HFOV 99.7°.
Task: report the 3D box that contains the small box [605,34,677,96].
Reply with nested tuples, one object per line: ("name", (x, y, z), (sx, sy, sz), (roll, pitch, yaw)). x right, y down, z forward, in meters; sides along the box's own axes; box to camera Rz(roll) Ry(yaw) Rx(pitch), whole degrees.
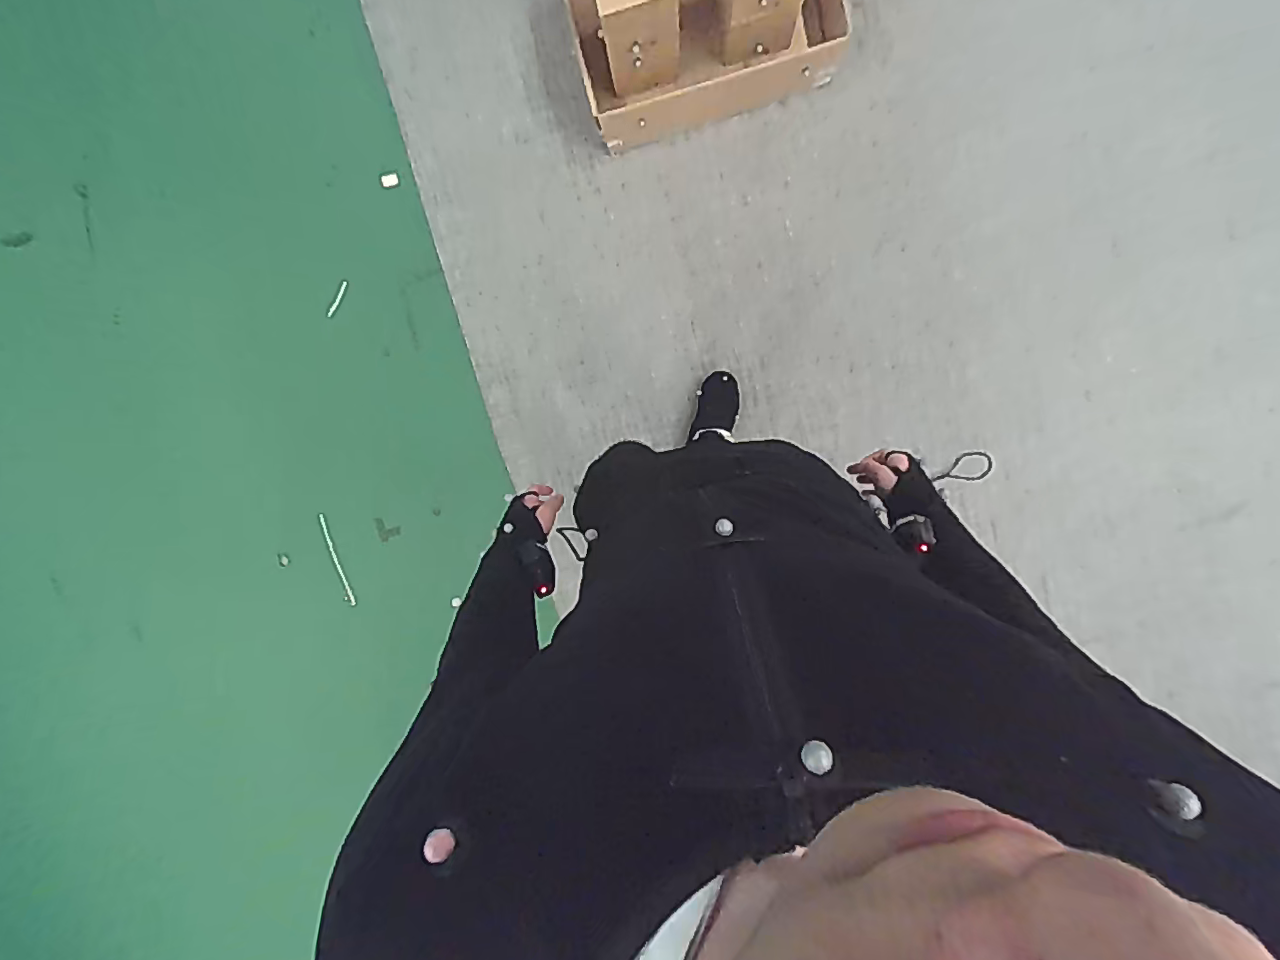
("small box", (-0.008, -1.074, 1.293), (0.168, 0.176, 0.179), (-12, 98, 7))

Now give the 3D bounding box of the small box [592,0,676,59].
("small box", (-0.022, -1.042, 1.133), (0.168, 0.176, 0.179), (-12, 99, 6))

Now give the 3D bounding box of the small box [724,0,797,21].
("small box", (0.249, -1.103, 1.103), (0.168, 0.176, 0.179), (-12, 100, 7))
